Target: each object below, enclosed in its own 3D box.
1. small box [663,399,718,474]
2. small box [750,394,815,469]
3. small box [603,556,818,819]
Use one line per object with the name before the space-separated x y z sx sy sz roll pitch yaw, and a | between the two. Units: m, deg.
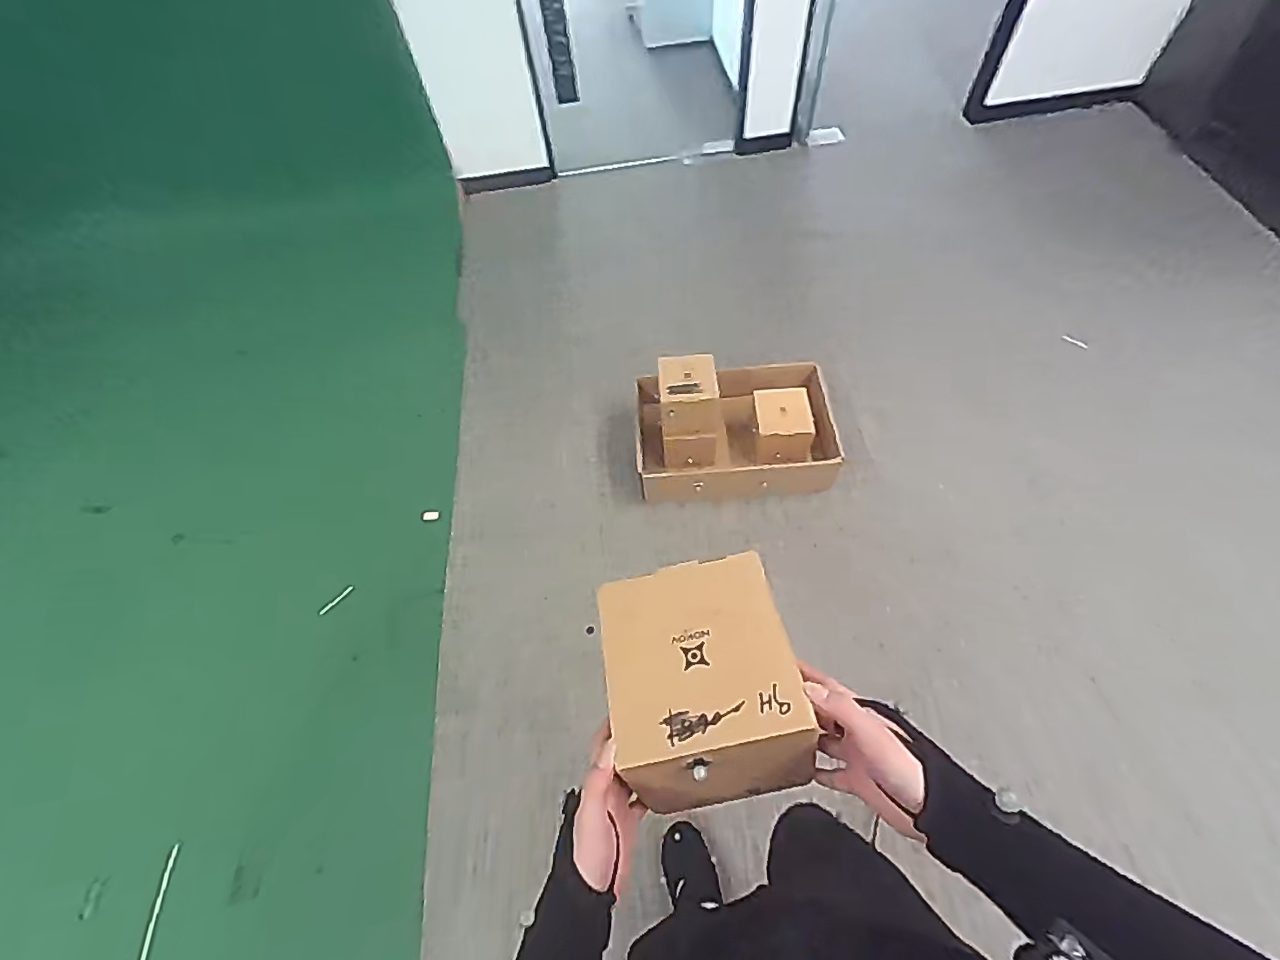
small box | 0.158 -0.140 1.747 0.168 0.176 0.179 -4 57 3
small box | 0.449 -0.155 1.731 0.168 0.176 0.179 -3 59 4
small box | 0.065 0.206 0.536 0.168 0.176 0.179 -13 45 4
